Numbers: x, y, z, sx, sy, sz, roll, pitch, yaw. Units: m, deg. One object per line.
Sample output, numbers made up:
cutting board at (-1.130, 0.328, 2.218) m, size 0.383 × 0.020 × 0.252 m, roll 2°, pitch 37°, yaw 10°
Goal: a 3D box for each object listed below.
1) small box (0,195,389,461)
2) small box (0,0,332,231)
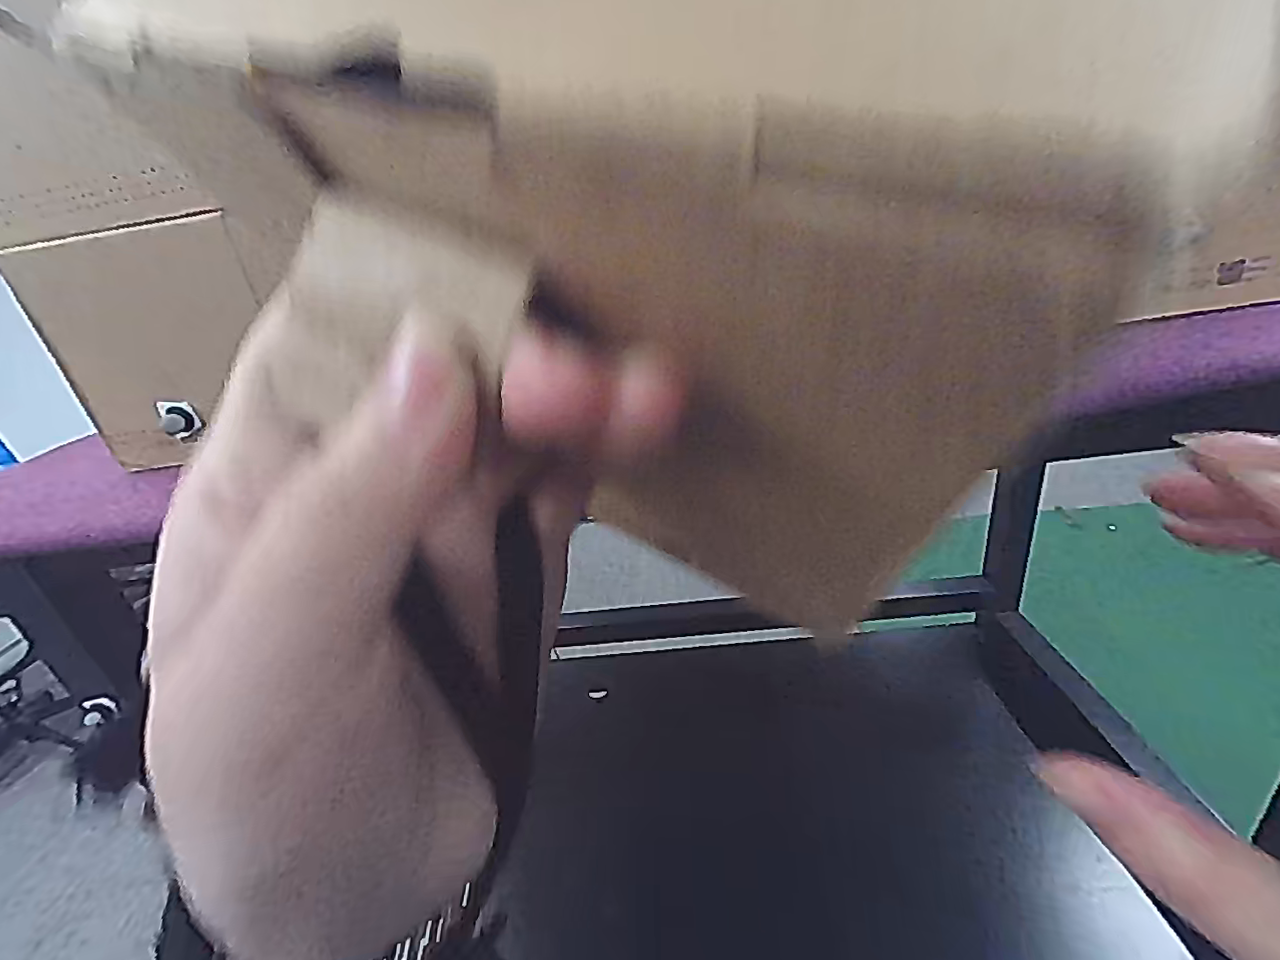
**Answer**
small box at (-0.340, -0.131, 0.457) m, size 0.168 × 0.176 × 0.179 m, roll -9°, pitch 26°, yaw 3°
small box at (-0.370, -0.278, 0.389) m, size 0.179 × 0.176 × 0.168 m, roll -9°, pitch 25°, yaw 2°
